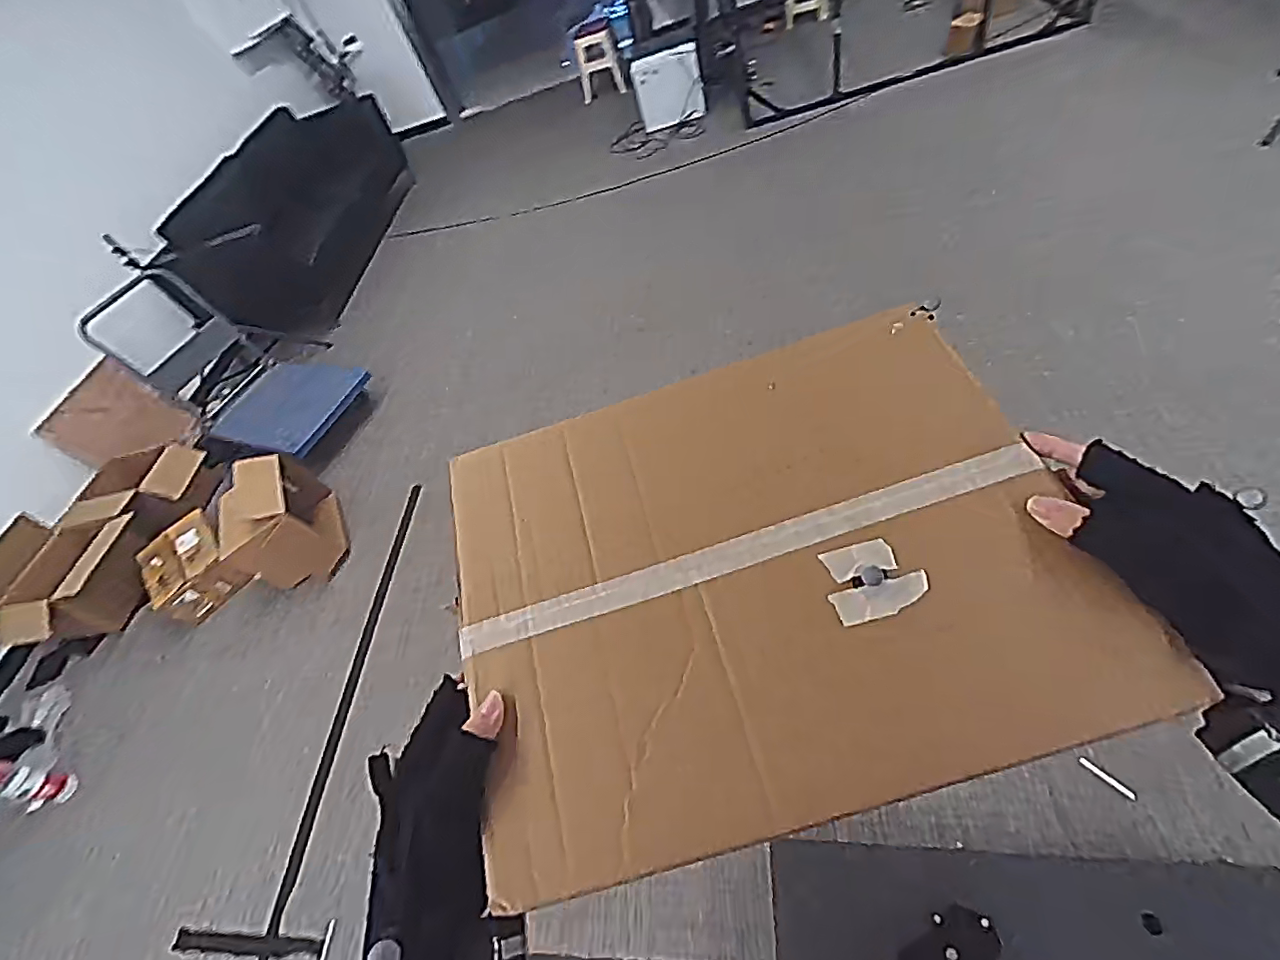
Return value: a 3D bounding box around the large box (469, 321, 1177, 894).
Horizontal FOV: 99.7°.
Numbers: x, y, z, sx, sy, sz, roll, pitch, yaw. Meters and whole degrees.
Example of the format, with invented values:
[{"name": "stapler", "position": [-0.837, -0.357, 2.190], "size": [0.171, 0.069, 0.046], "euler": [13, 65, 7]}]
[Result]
[{"name": "large box", "position": [0.104, 0.124, 0.510], "size": [0.408, 0.320, 0.320], "euler": [-18, 60, 2]}]
